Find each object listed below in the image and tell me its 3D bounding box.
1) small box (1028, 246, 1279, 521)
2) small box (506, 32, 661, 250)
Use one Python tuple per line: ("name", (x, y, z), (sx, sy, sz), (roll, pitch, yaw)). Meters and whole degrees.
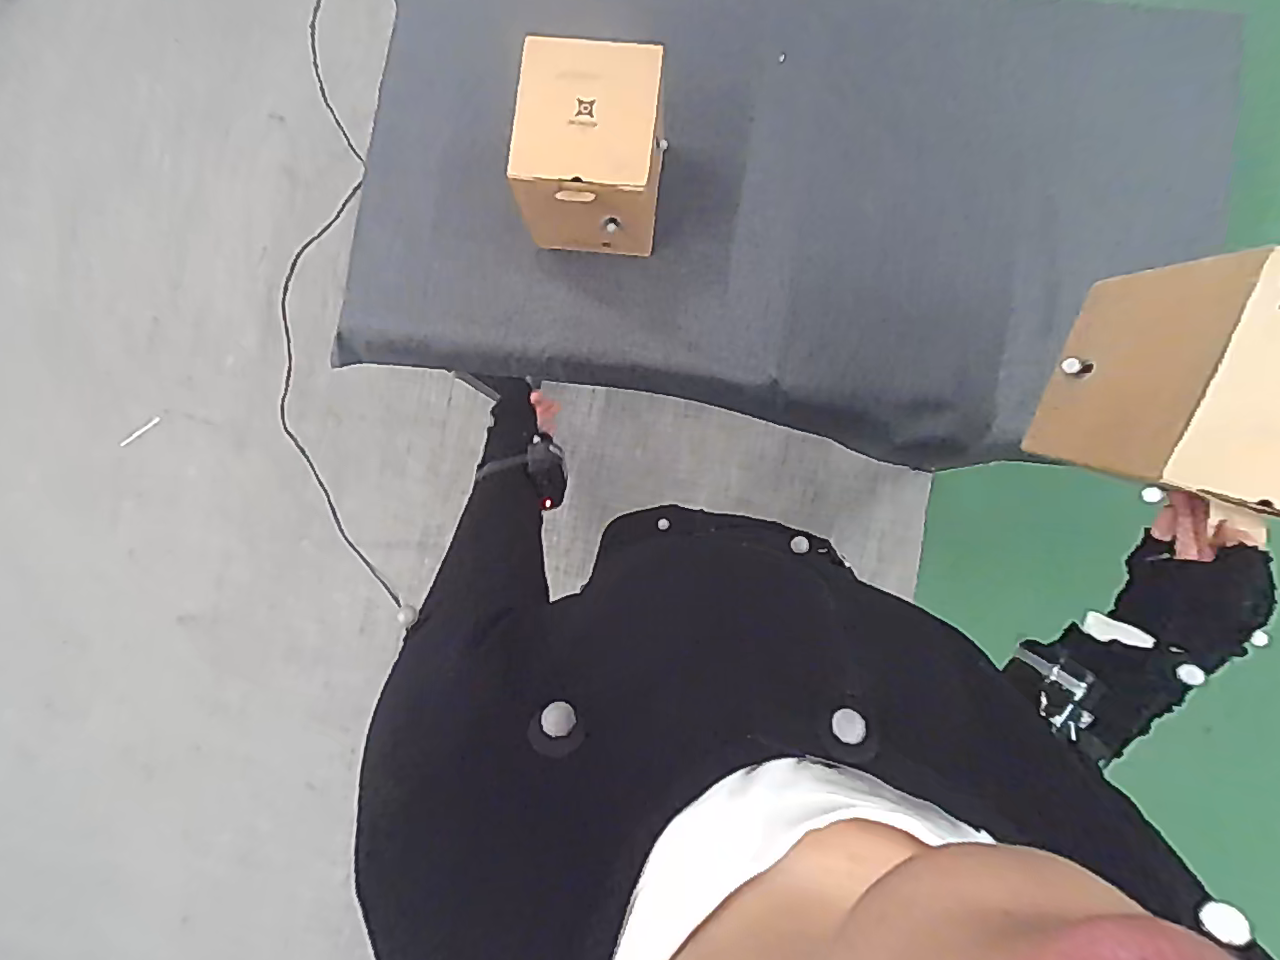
("small box", (0.491, -0.078, 0.472), (0.168, 0.176, 0.179), (15, 103, -1))
("small box", (-0.062, -0.423, 0.701), (0.168, 0.176, 0.179), (6, 86, 1))
